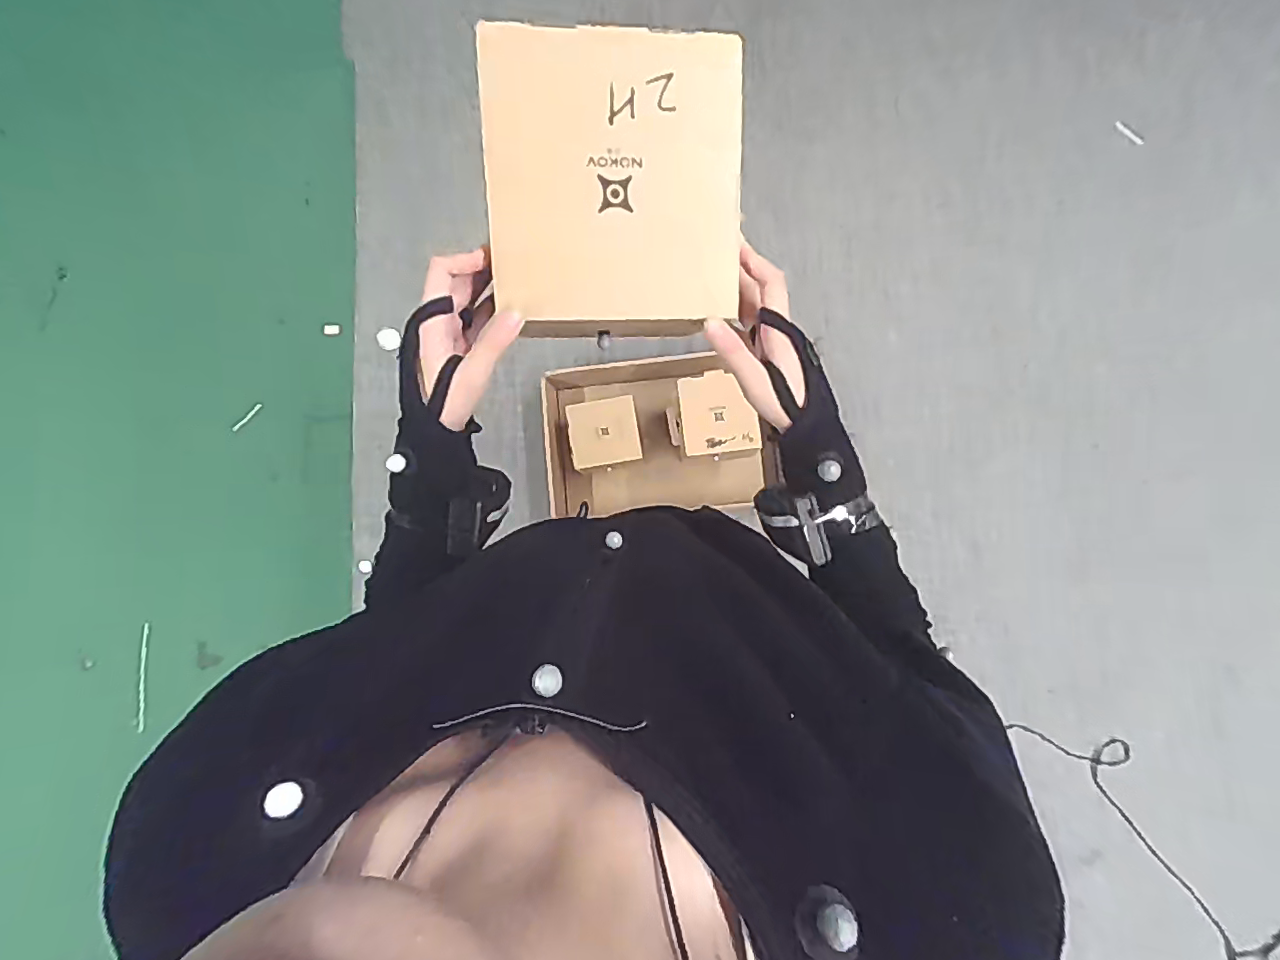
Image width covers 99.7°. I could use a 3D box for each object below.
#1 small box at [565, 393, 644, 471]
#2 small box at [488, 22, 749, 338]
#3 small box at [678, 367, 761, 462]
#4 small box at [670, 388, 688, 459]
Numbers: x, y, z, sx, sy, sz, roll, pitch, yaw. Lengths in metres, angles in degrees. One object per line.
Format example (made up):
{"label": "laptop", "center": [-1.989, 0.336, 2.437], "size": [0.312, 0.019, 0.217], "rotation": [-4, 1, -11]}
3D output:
{"label": "small box", "center": [-0.088, -0.120, 1.428], "size": [0.179, 0.176, 0.168], "rotation": [-8, 86, 1]}
{"label": "small box", "center": [-0.021, -0.207, 0.429], "size": [0.168, 0.176, 0.179], "rotation": [-2, 100, -7]}
{"label": "small box", "center": [0.176, -0.145, 1.246], "size": [0.168, 0.176, 0.179], "rotation": [-7, 84, 5]}
{"label": "small box", "center": [0.180, -0.155, 1.410], "size": [0.179, 0.176, 0.168], "rotation": [-11, 85, 4]}
